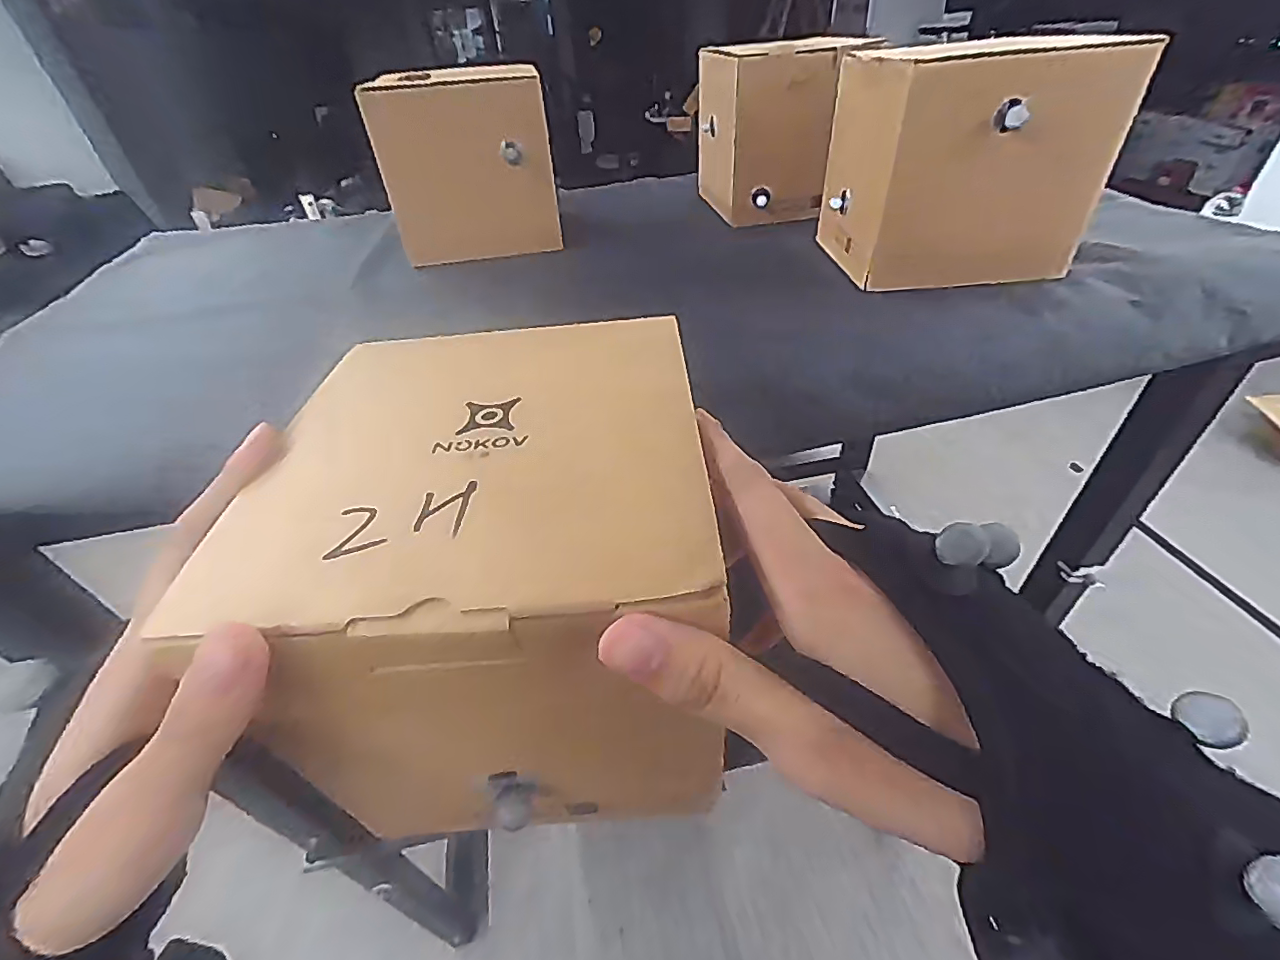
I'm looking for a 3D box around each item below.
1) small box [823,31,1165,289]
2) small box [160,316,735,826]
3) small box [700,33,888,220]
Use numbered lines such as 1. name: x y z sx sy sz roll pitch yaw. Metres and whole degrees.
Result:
1. small box: 0.280 -0.285 0.483 0.179 0.176 0.168 -4 39 3
2. small box: -0.051 0.040 0.263 0.168 0.176 0.179 -5 42 2
3. small box: 0.174 -0.432 0.667 0.168 0.176 0.179 -9 40 -4
